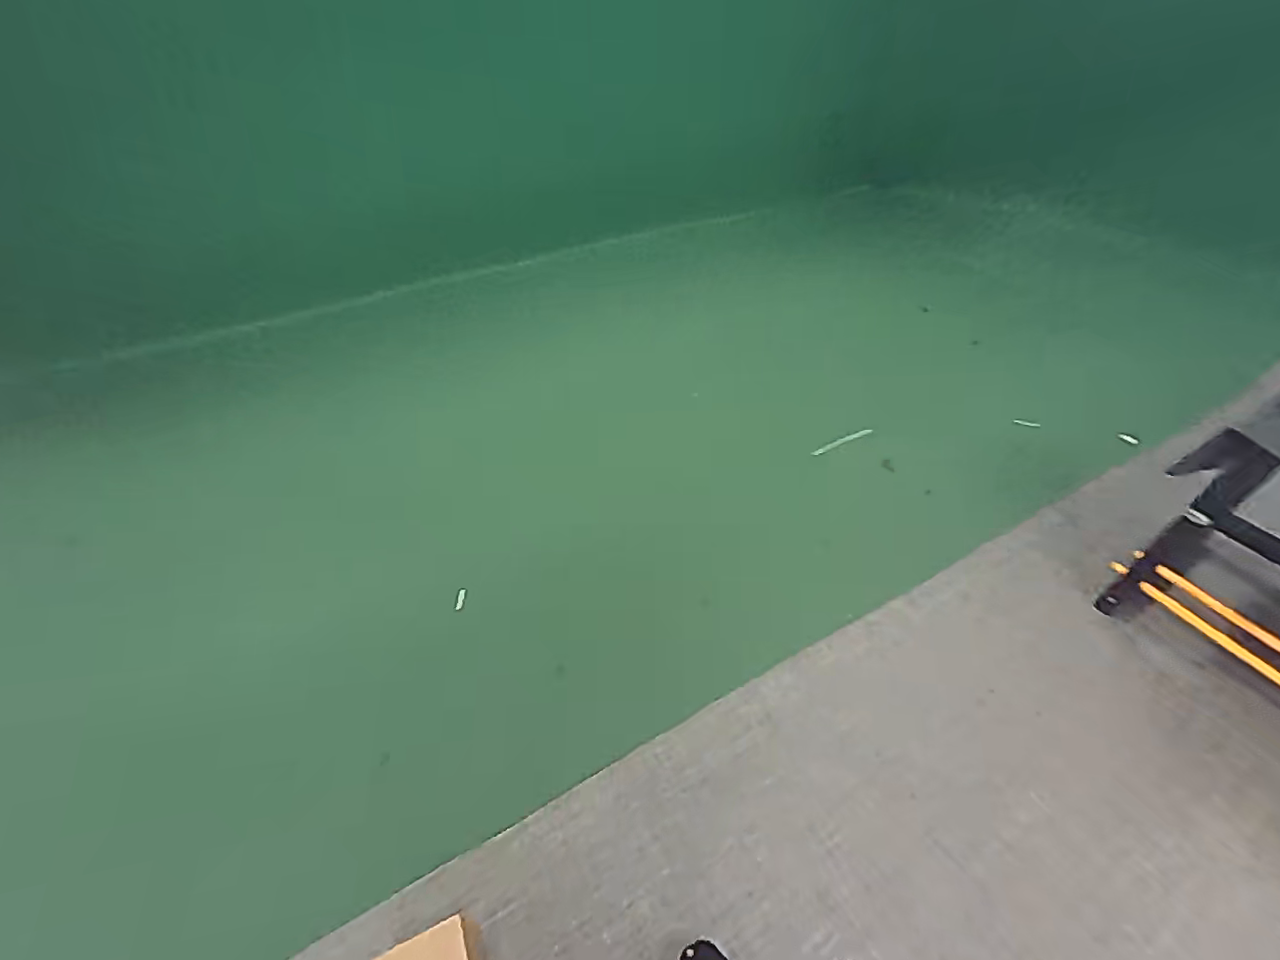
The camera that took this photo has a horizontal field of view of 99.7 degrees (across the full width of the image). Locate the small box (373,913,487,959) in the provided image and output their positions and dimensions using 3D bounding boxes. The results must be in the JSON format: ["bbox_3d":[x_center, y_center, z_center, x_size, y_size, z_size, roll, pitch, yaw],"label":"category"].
[{"bbox_3d":[-0.389,0.973,1.024,0.179,0.176,0.168,-18,46,-18],"label":"small box"}]
